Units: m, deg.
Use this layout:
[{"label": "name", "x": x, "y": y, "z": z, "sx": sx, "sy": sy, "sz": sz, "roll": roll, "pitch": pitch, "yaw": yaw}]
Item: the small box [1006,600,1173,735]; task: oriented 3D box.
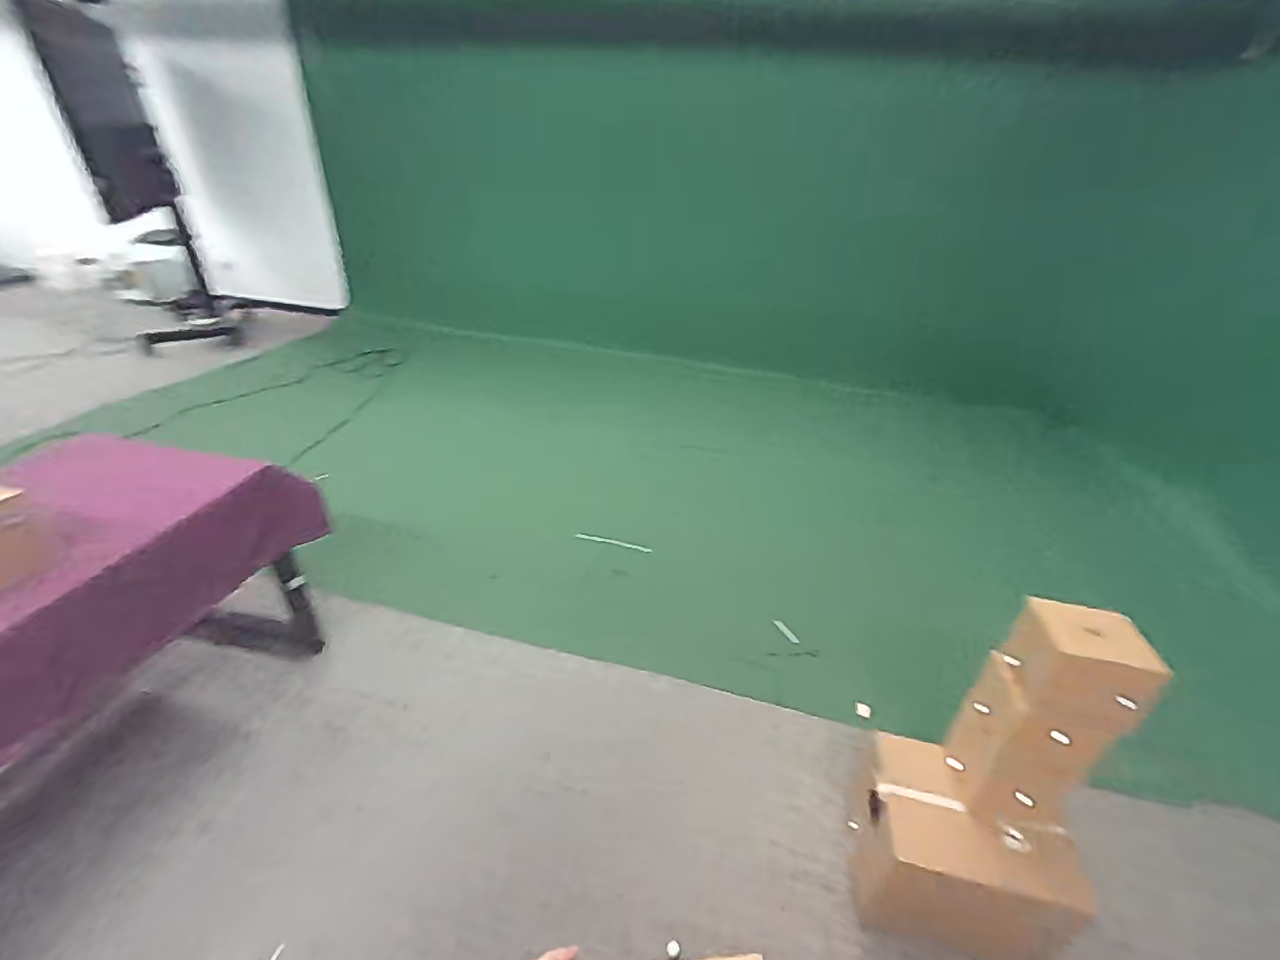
[{"label": "small box", "x": 0.872, "y": 0.371, "z": 1.071, "sx": 0.179, "sy": 0.176, "sz": 0.168, "roll": 10, "pitch": 28, "yaw": 12}]

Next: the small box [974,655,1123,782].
[{"label": "small box", "x": 0.856, "y": 0.510, "z": 1.155, "sx": 0.179, "sy": 0.176, "sz": 0.168, "roll": 9, "pitch": 29, "yaw": 10}]

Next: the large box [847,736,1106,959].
[{"label": "large box", "x": 0.756, "y": 0.890, "z": 1.304, "sx": 0.408, "sy": 0.320, "sz": 0.320, "roll": 11, "pitch": 32, "yaw": 9}]
